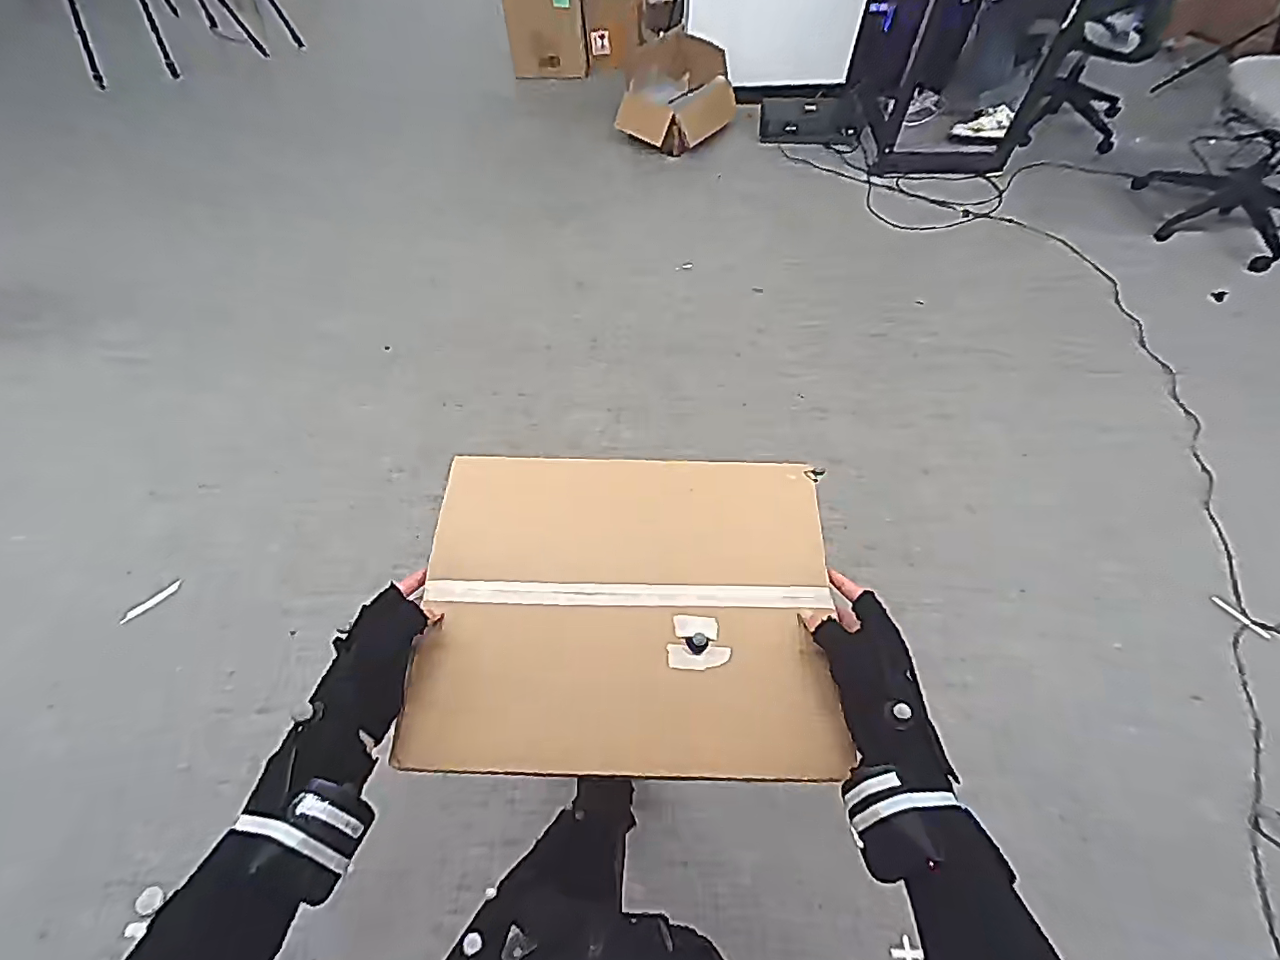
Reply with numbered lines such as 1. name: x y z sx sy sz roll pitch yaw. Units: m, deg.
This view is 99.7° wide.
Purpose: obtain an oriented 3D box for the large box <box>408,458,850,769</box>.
1. large box: -0.012 0.184 0.679 0.408 0.320 0.320 2 62 0
